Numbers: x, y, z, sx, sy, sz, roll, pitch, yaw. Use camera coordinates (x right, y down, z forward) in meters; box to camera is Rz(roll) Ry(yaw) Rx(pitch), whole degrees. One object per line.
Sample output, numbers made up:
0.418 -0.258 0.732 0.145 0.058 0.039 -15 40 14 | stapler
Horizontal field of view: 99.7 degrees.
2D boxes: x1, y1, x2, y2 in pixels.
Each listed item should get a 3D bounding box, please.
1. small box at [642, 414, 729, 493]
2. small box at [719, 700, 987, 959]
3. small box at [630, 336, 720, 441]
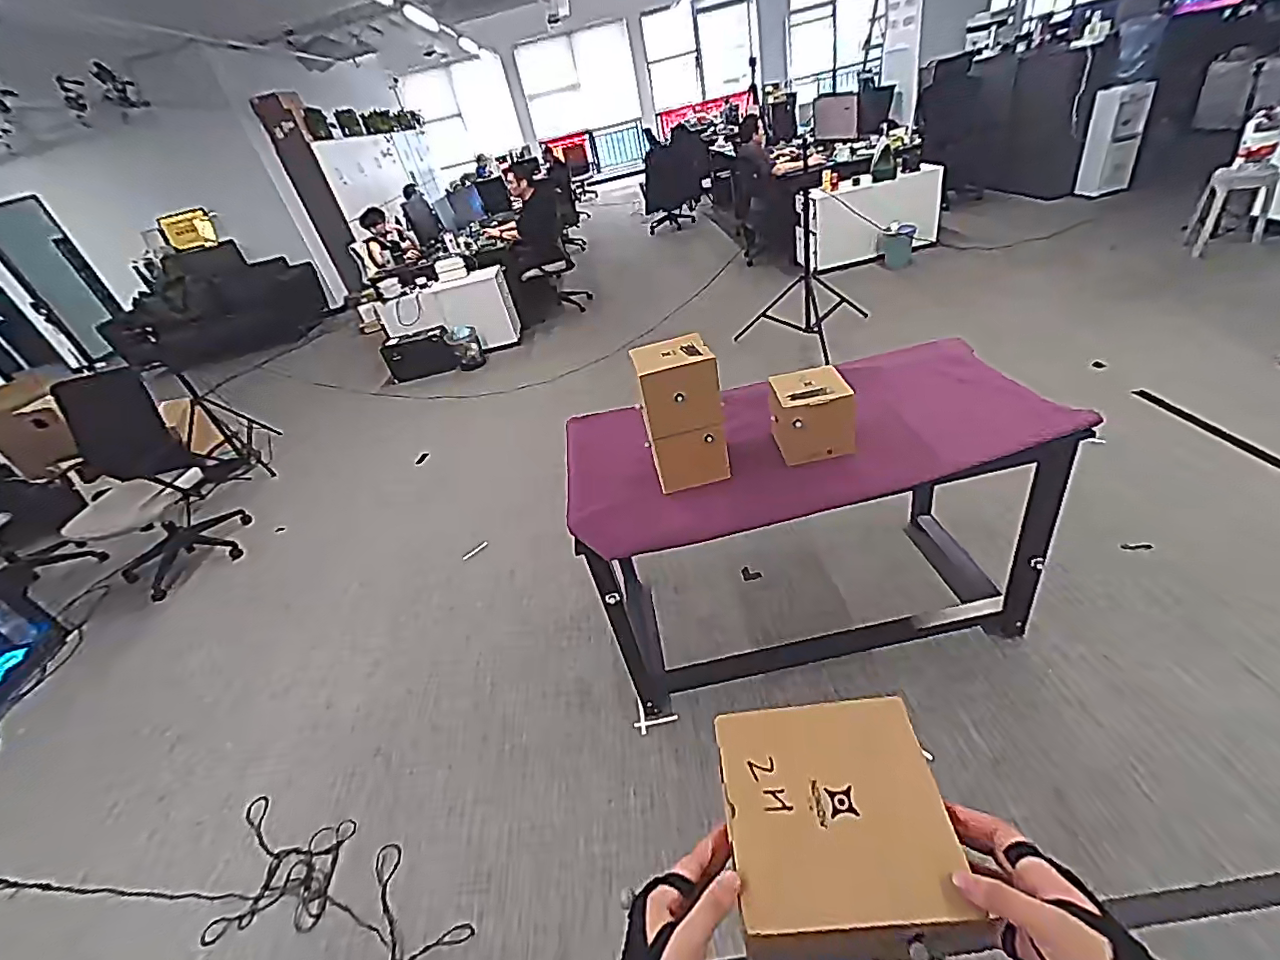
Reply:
0.116 -0.087 1.379 0.179 0.176 0.168 -14 34 -1 | small box
0.173 0.327 0.499 0.179 0.176 0.168 -9 40 6 | small box
0.086 -0.217 1.283 0.179 0.176 0.168 -14 34 0 | small box
